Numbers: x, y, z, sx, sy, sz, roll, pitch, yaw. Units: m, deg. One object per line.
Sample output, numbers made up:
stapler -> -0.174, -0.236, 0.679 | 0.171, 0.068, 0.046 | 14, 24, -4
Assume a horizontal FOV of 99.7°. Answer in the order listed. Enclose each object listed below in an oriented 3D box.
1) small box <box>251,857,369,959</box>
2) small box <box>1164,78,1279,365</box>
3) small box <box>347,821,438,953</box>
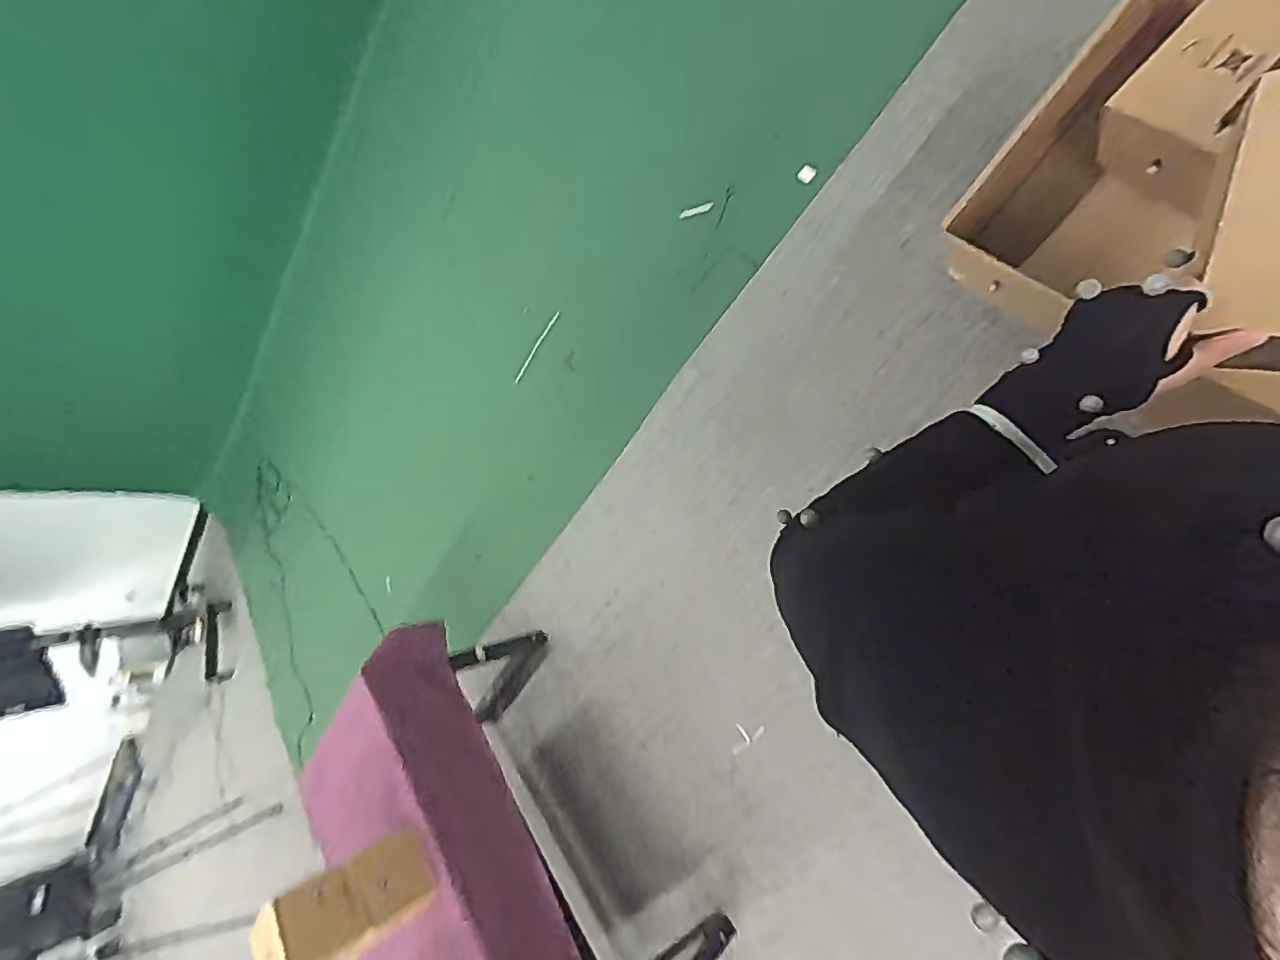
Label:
small box -> -0.733, 0.997, 1.211 | 0.168, 0.176, 0.179 | 48, 116, 28
small box -> 0.519, -0.176, 0.395 | 0.168, 0.176, 0.179 | 14, 102, 37
small box -> -0.632, 0.997, 1.338 | 0.179, 0.176, 0.168 | 50, 116, 27
